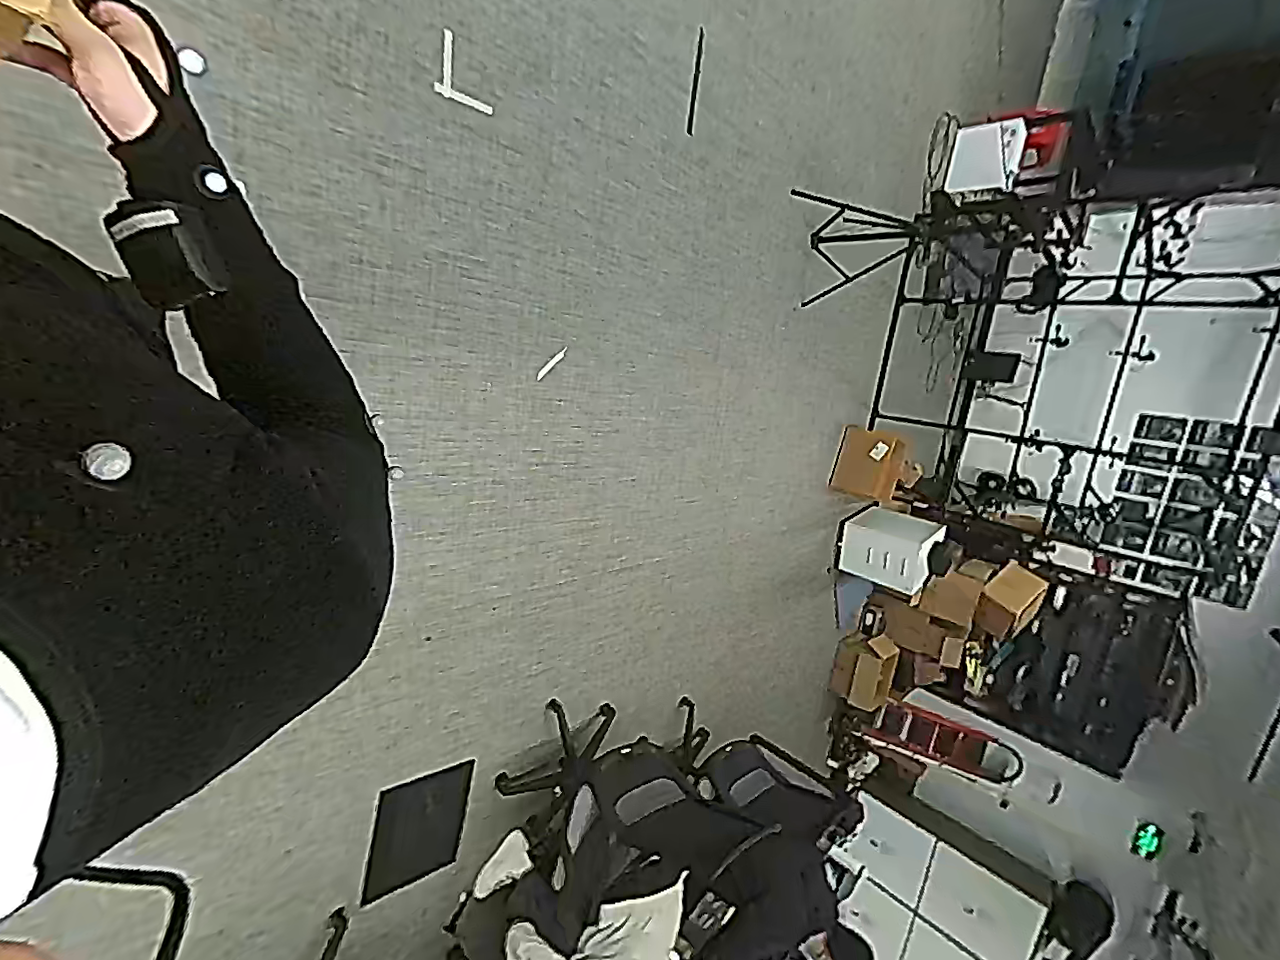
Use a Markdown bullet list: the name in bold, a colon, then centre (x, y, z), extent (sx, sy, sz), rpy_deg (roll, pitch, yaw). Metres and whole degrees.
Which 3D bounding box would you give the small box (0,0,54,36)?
- **small box**: centre (-0.366, -0.310, 0.209), extent (0.179, 0.176, 0.168), rpy_deg (1, 103, -59)
